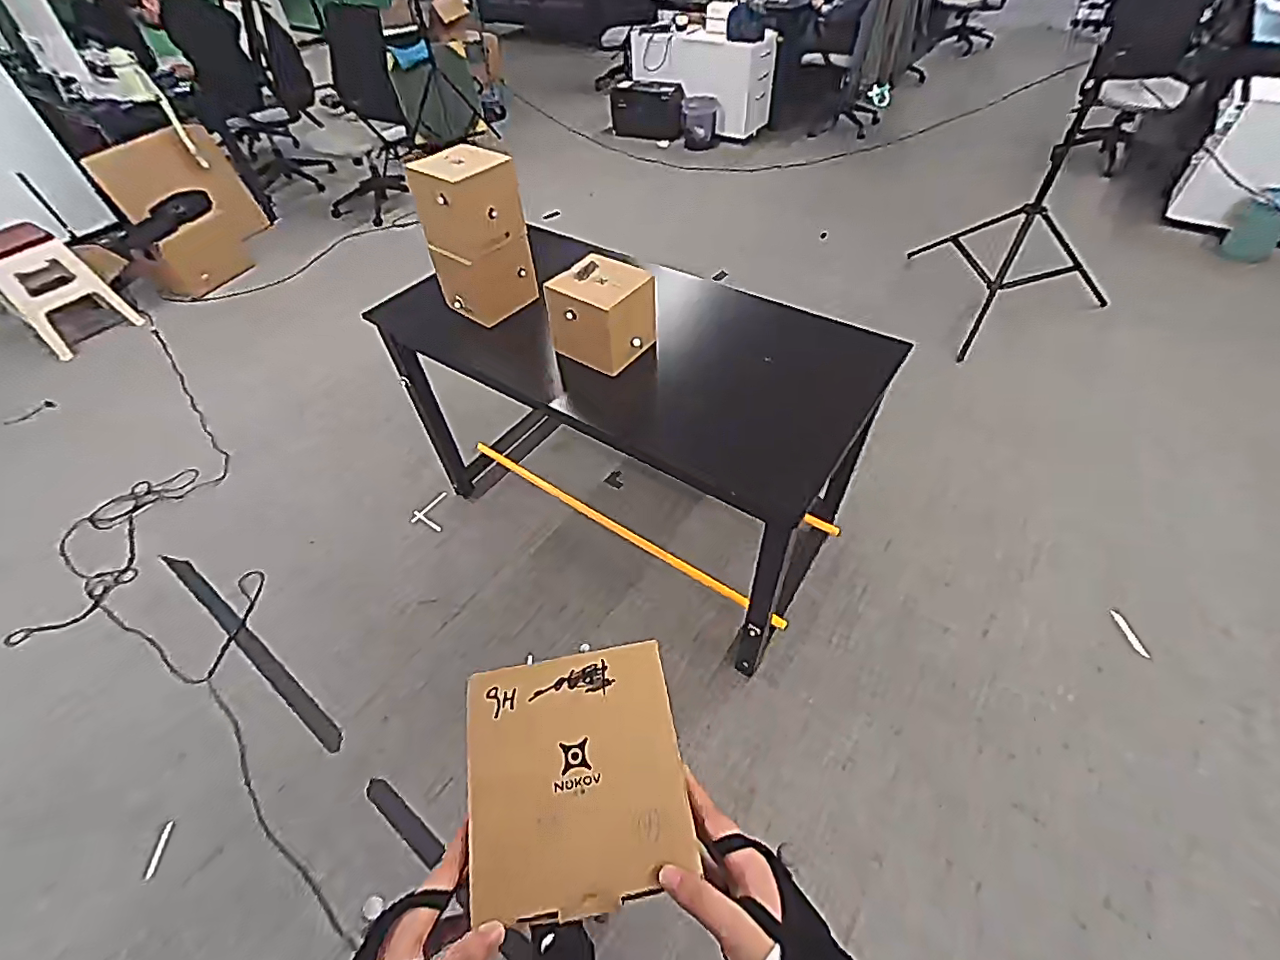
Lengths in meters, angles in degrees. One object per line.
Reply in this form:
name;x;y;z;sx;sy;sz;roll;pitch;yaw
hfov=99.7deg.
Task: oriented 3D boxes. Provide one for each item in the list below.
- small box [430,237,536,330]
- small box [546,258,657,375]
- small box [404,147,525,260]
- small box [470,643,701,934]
small box;-0.377;-0.504;1.336;0.168;0.176;0.179;29;58;27
small box;-0.079;-0.358;1.191;0.179;0.176;0.168;28;56;24
small box;-0.385;-0.618;1.217;0.179;0.176;0.168;29;56;26
small box;-0.047;0.268;0.489;0.168;0.176;0.179;-10;58;-5
